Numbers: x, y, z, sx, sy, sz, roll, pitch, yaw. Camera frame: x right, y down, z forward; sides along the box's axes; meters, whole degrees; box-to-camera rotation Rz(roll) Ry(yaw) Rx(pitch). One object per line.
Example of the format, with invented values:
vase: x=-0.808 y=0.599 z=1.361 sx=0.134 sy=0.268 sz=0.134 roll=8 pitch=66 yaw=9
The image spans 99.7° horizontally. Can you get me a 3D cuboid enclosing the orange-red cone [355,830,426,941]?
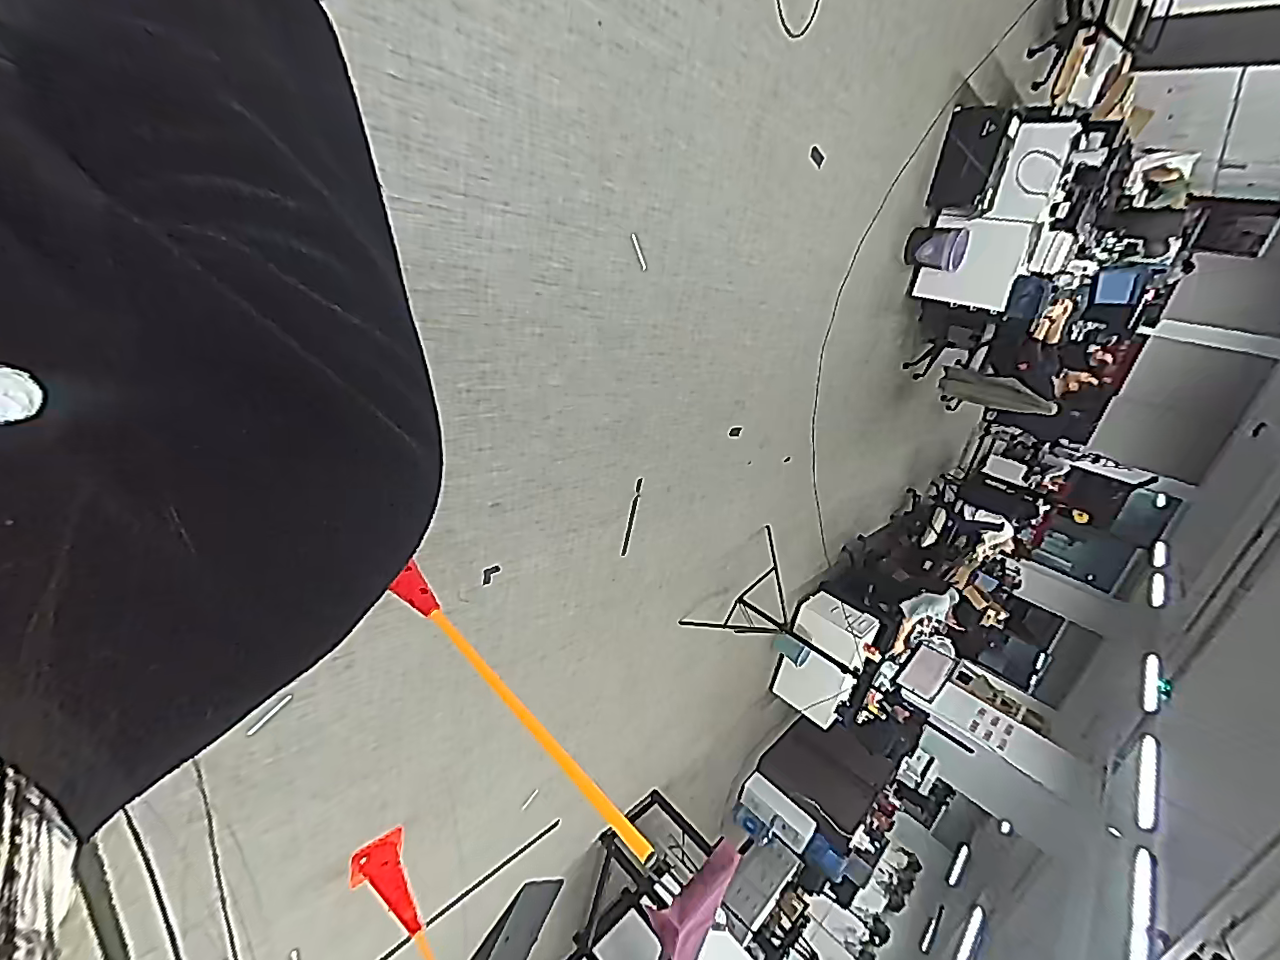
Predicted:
orange-red cone: x=-0.903 y=1.564 z=2.035 sx=0.198 sy=0.360 sz=0.199 roll=-9 pitch=120 yaw=-46
